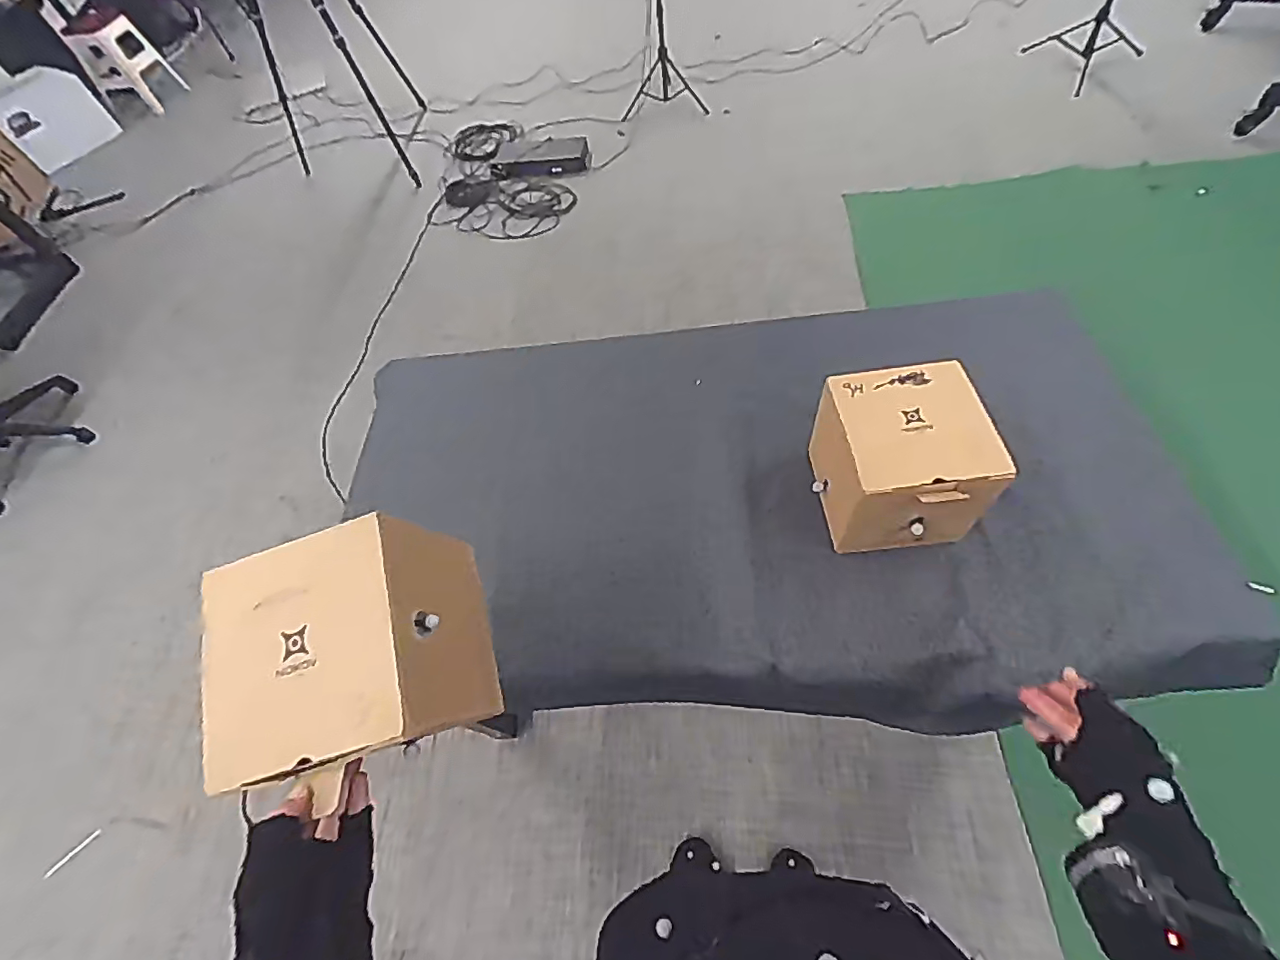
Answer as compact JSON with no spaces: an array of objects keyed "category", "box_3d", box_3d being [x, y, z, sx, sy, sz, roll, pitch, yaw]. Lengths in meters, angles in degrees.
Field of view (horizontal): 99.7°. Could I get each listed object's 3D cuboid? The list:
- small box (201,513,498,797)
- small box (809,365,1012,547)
[{"category":"small box","box_3d":[-0.245,0.151,0.487,0.168,0.176,0.179,-19,70,4]},{"category":"small box","box_3d":[0.330,-0.021,0.703,0.168,0.176,0.179,-6,59,3]}]
